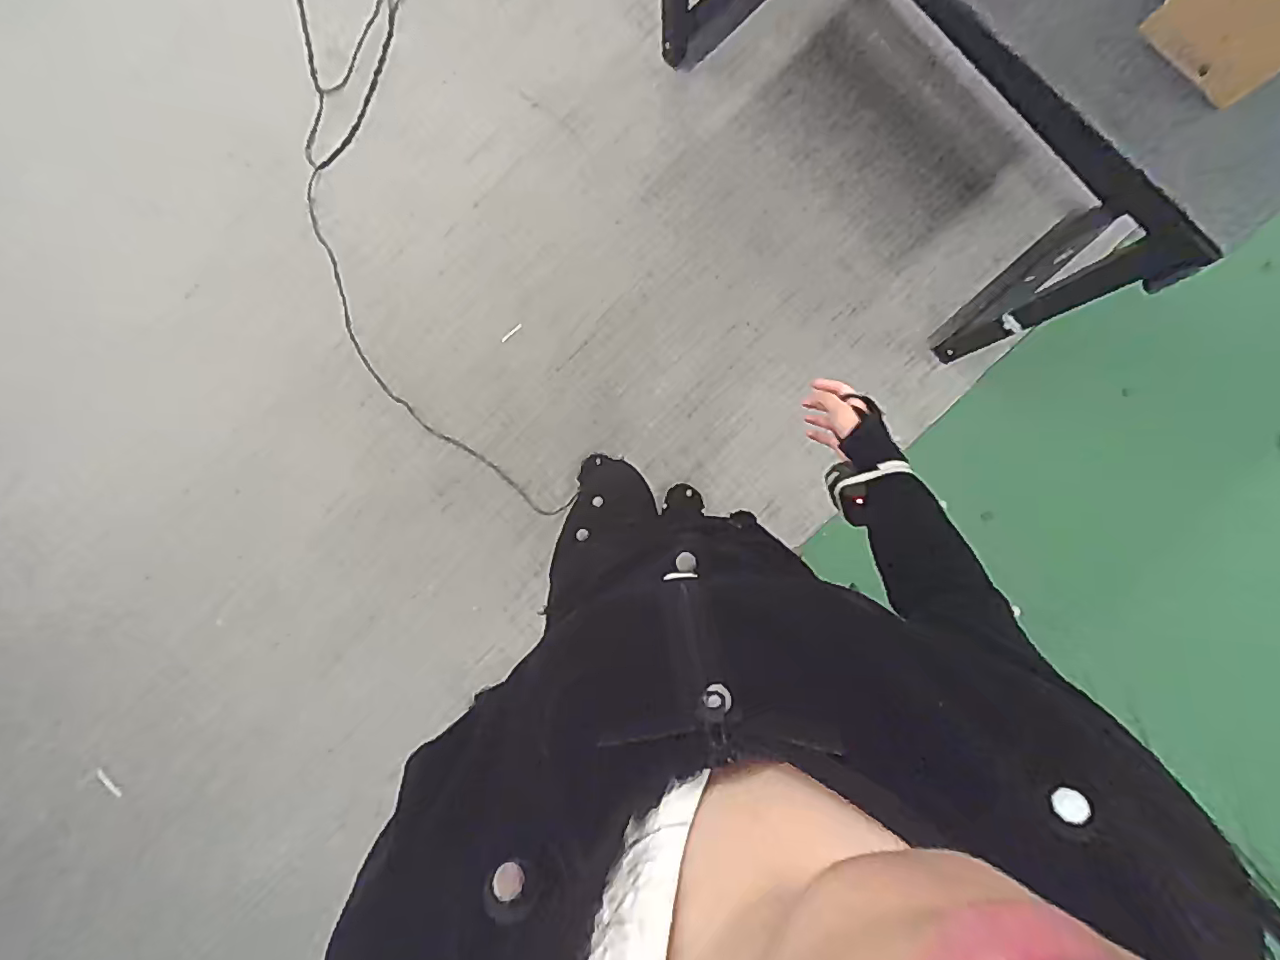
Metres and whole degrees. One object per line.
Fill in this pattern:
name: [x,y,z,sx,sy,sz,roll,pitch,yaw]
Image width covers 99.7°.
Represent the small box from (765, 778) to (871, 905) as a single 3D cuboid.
small box: [0.452,0.926,1.404,0.179,0.176,0.168,44,91,2]
